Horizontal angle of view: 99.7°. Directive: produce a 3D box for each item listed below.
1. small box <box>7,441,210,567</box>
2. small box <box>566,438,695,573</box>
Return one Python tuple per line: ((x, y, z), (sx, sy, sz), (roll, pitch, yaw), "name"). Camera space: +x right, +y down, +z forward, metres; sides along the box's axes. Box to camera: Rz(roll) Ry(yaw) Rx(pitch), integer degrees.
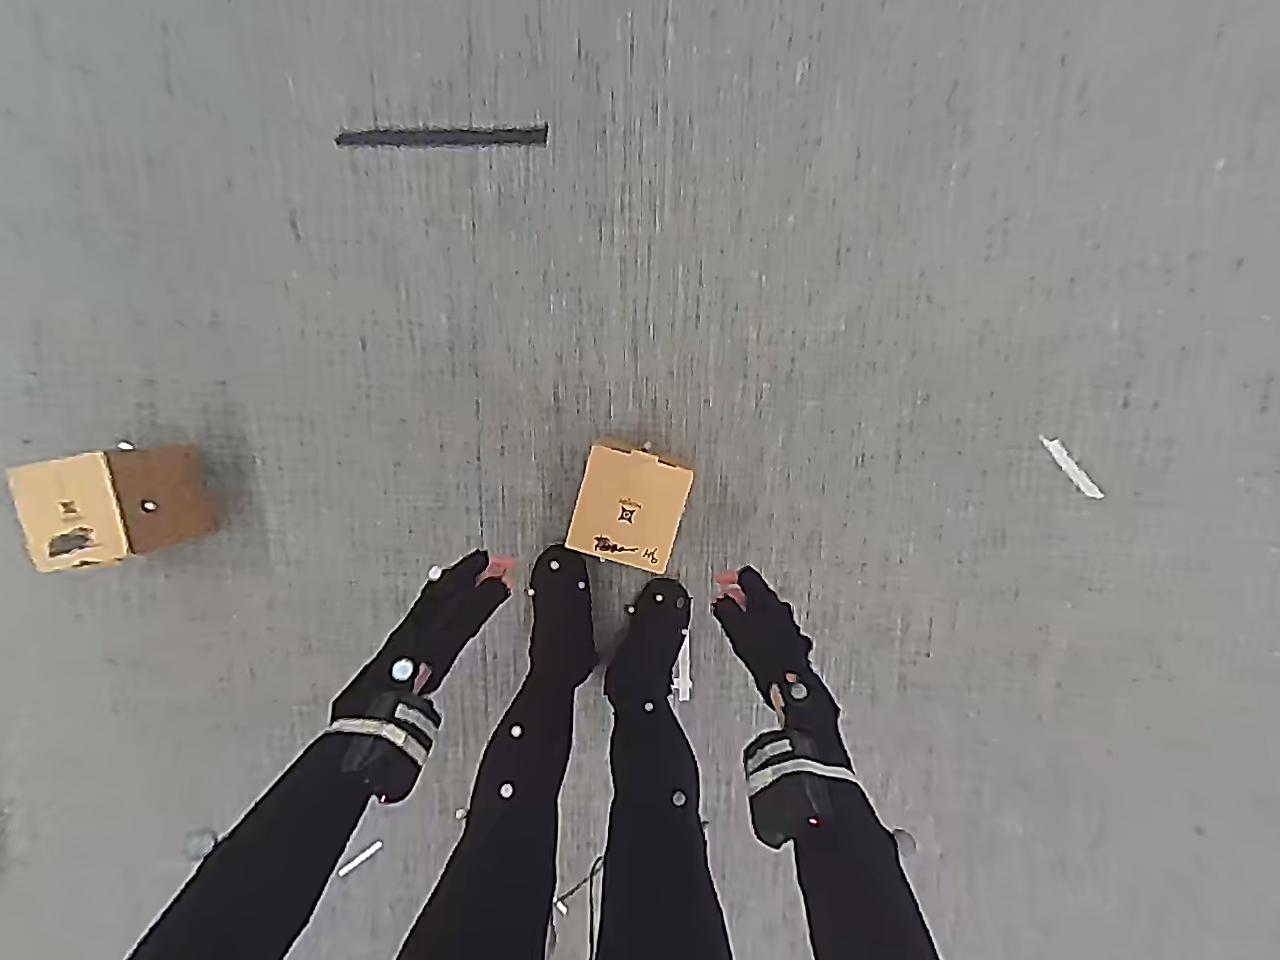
((-0.901, 0.034, 0.937), (0.168, 0.176, 0.179), (-10, 97, 3), "small box")
((-0.016, 0.033, 0.922), (0.168, 0.176, 0.179), (17, 97, -1), "small box")
